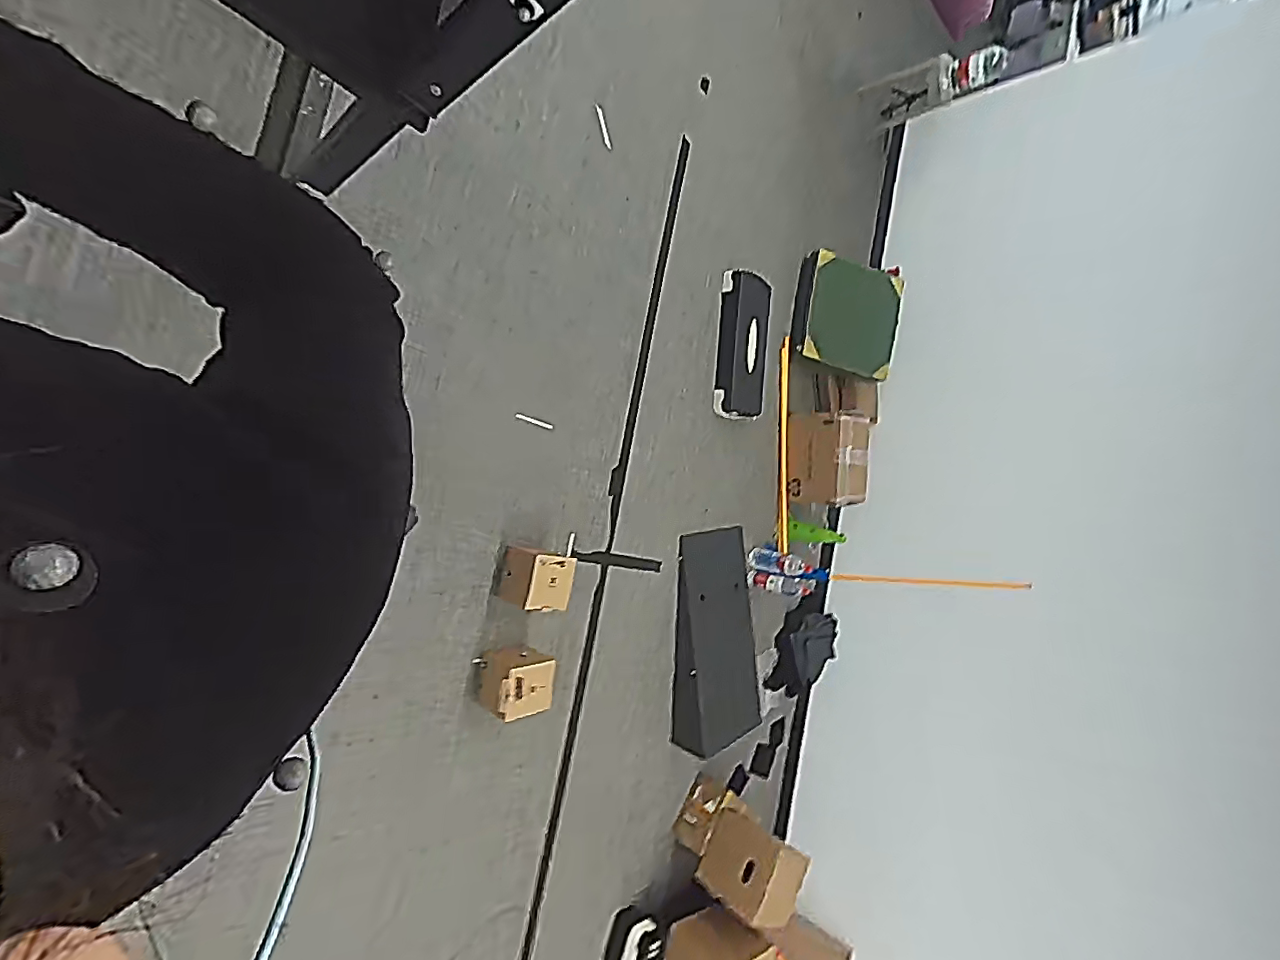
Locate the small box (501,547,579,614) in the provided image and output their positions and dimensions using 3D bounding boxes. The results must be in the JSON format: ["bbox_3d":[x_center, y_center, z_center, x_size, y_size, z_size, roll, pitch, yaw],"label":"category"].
[{"bbox_3d":[-0.330,0.329,1.766,0.168,0.176,0.179,16,84,-46],"label":"small box"}]

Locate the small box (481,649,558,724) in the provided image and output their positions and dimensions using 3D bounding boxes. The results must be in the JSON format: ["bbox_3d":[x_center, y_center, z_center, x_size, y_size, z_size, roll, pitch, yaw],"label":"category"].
[{"bbox_3d":[-0.392,0.659,1.745,0.179,0.176,0.168,6,91,-47],"label":"small box"}]
